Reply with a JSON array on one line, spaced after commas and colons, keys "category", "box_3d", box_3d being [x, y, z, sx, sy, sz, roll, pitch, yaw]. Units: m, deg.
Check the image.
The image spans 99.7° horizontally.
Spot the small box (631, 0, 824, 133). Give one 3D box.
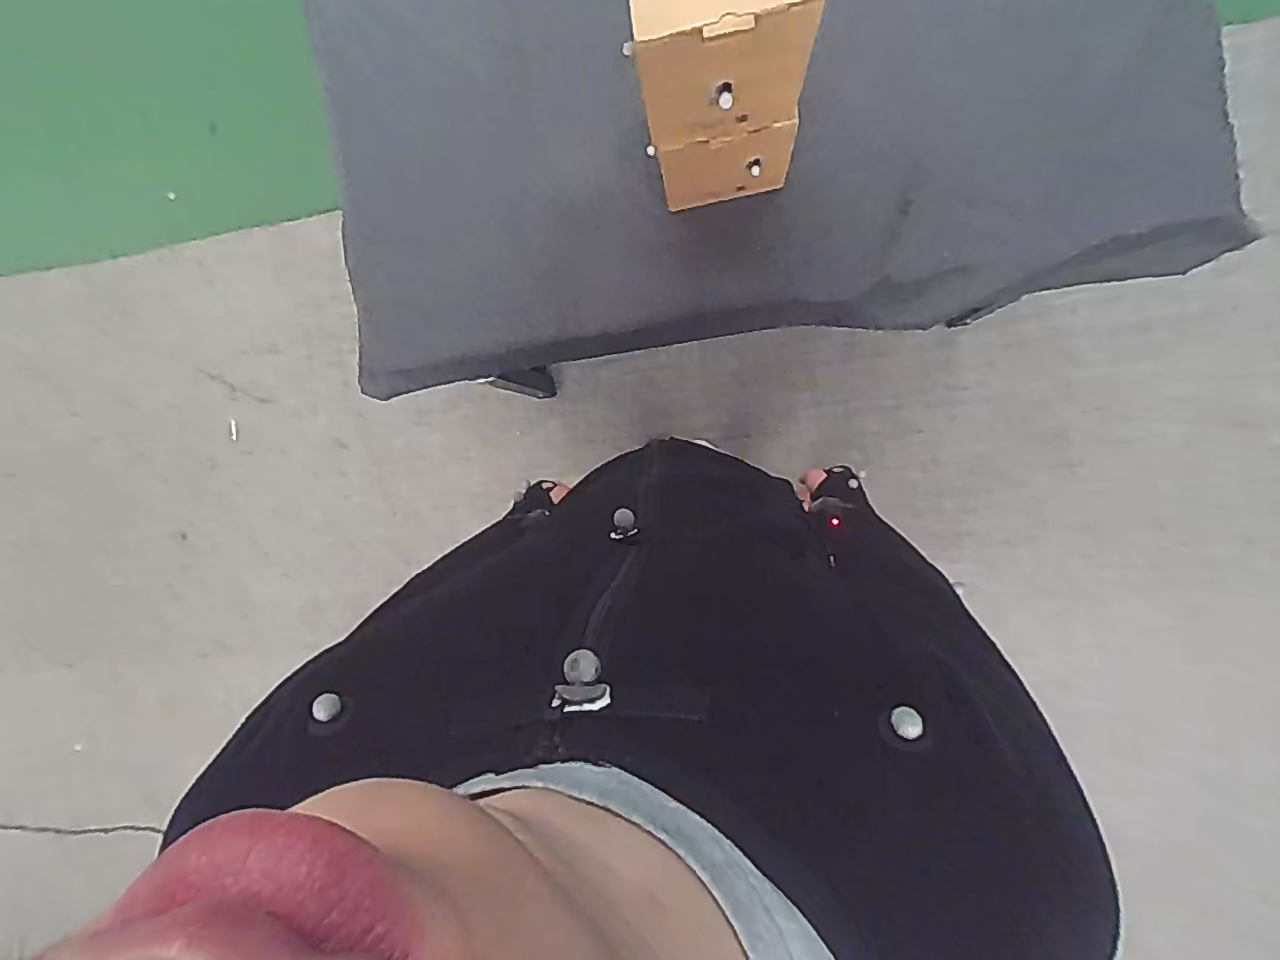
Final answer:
[{"category": "small box", "box_3d": [0.077, -0.480, 0.539, 0.168, 0.176, 0.179, -7, 94, 7]}]

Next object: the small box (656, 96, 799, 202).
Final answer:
[{"category": "small box", "box_3d": [0.102, -0.486, 0.701, 0.168, 0.176, 0.179, -9, 92, 7]}]
